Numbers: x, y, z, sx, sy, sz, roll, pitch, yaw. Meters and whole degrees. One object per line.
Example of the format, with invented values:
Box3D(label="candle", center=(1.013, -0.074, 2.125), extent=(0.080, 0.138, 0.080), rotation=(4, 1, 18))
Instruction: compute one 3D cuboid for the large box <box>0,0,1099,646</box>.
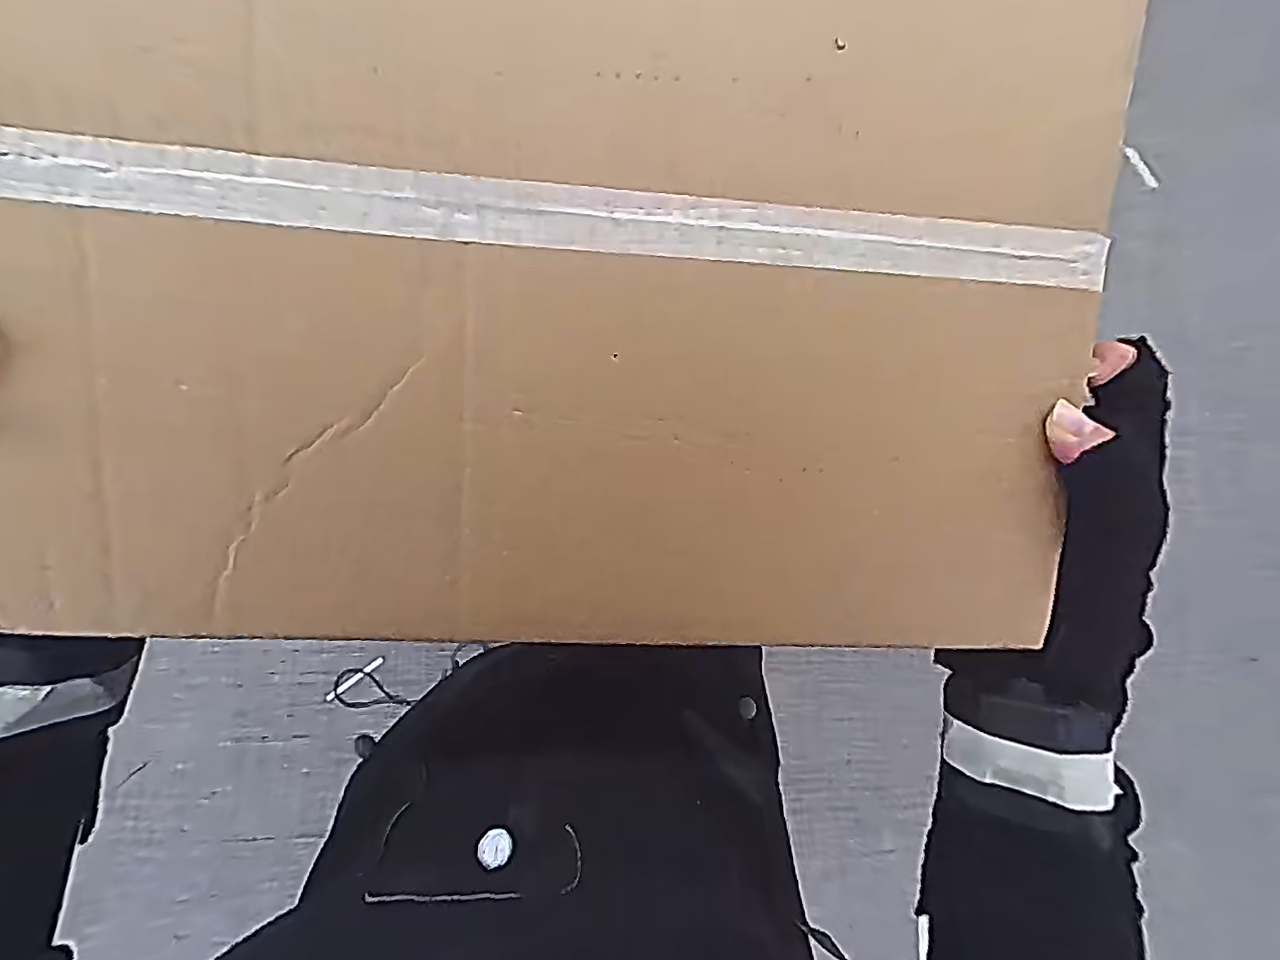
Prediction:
Box3D(label="large box", center=(-0.041, -0.105, 0.349), extent=(0.408, 0.320, 0.320), rotation=(3, 97, -6))
